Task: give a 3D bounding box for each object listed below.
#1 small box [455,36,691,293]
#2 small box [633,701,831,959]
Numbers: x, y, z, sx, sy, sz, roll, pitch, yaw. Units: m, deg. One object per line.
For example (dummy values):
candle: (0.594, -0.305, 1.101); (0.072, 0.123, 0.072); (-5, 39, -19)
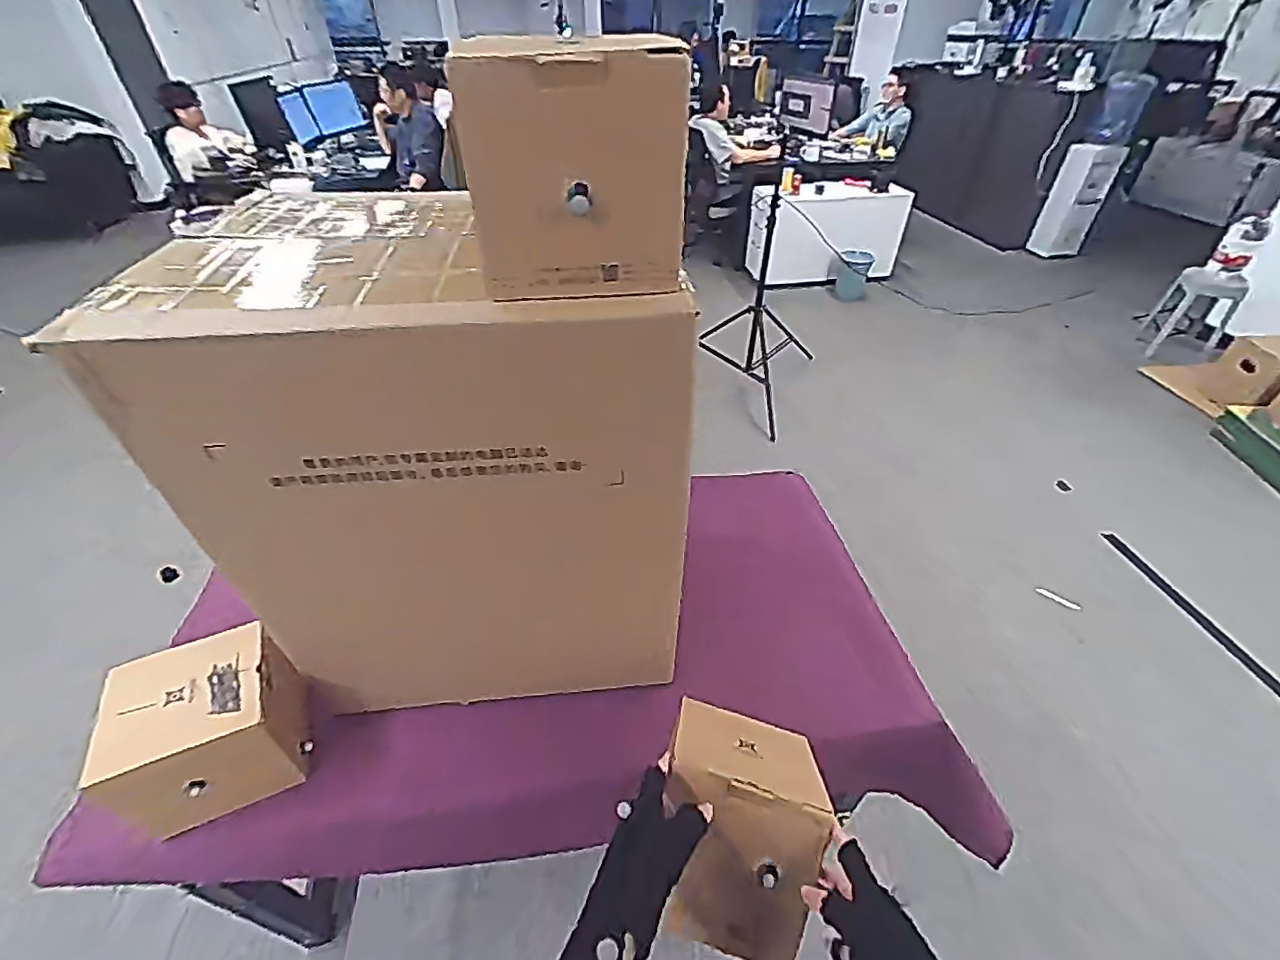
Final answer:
small box: (-0.050, -0.276, 0.479); (0.168, 0.176, 0.179); (-5, 42, -4)
small box: (0.098, 0.383, 0.611); (0.168, 0.179, 0.176); (16, 87, 8)
